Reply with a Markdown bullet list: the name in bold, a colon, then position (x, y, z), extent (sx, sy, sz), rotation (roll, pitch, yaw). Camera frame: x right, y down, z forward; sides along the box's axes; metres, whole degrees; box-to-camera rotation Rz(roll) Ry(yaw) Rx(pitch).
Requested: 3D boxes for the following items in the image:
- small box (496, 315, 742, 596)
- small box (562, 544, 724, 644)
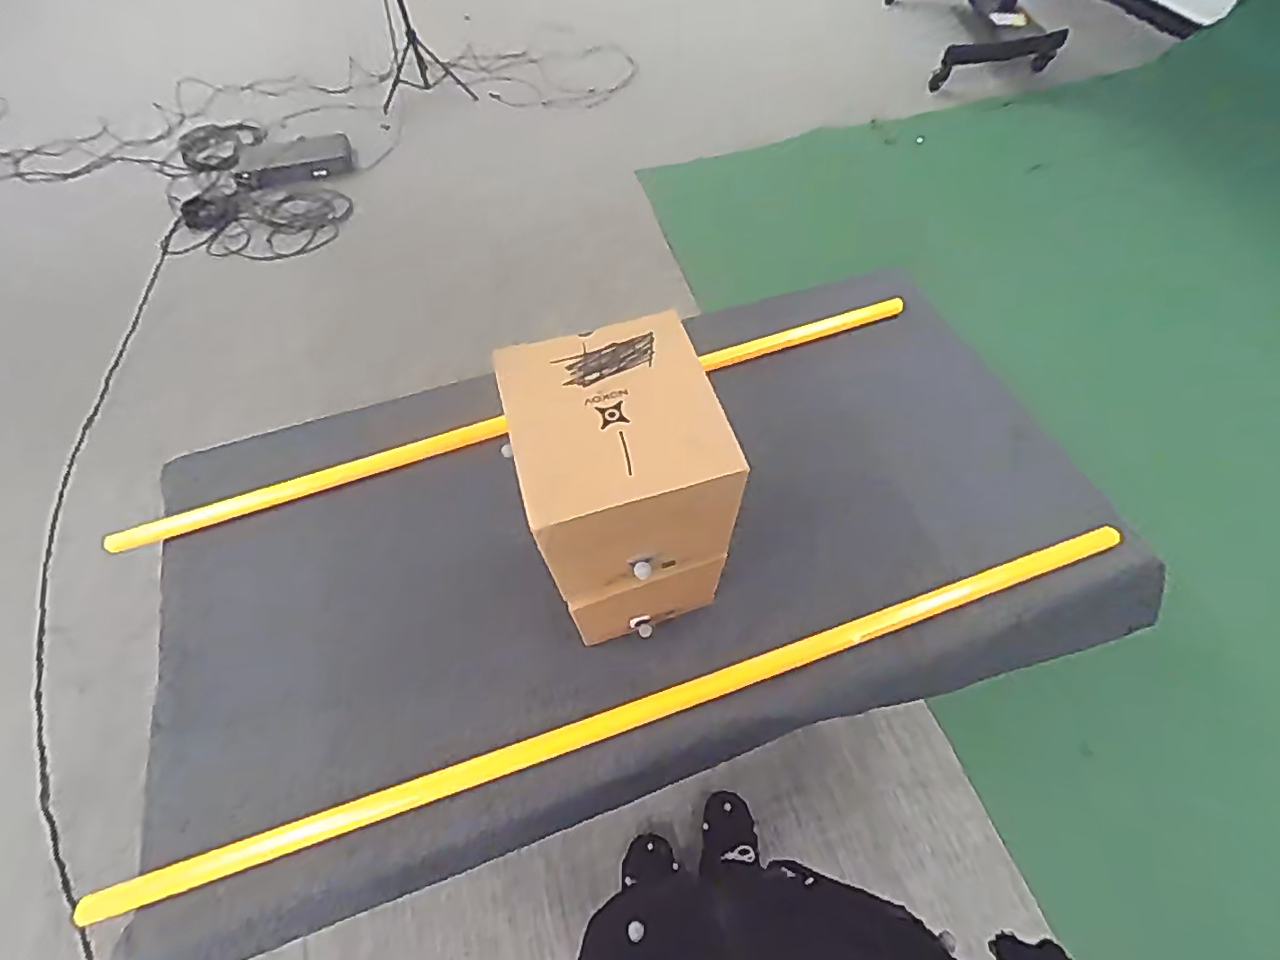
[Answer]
- **small box**: position (-0.022, -0.016, 0.500), extent (0.168, 0.176, 0.179), rotation (-15, 61, -6)
- **small box**: position (-0.018, 0.070, 0.640), extent (0.168, 0.176, 0.179), rotation (-19, 62, -8)
